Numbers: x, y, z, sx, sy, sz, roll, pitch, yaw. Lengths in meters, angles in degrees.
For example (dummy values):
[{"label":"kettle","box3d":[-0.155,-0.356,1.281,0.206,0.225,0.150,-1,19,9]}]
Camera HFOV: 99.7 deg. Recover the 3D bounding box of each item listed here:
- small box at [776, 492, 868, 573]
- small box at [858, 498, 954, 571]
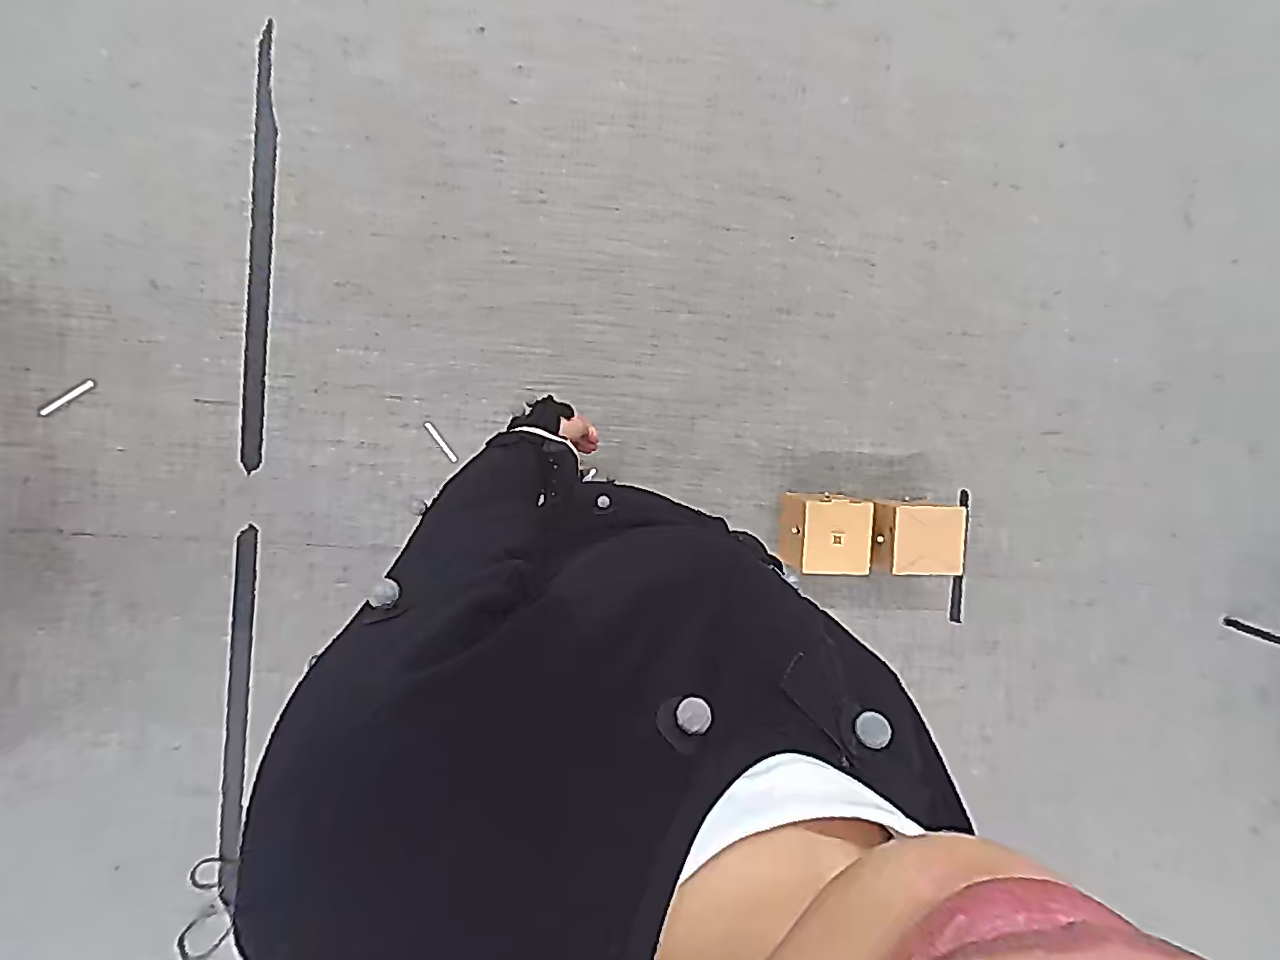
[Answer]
[{"label":"small box","box3d":[0.452,0.127,1.364,0.168,0.176,0.179,3,93,-5]},{"label":"small box","box3d":[0.675,0.136,1.379,0.179,0.176,0.168,1,93,-5]}]
